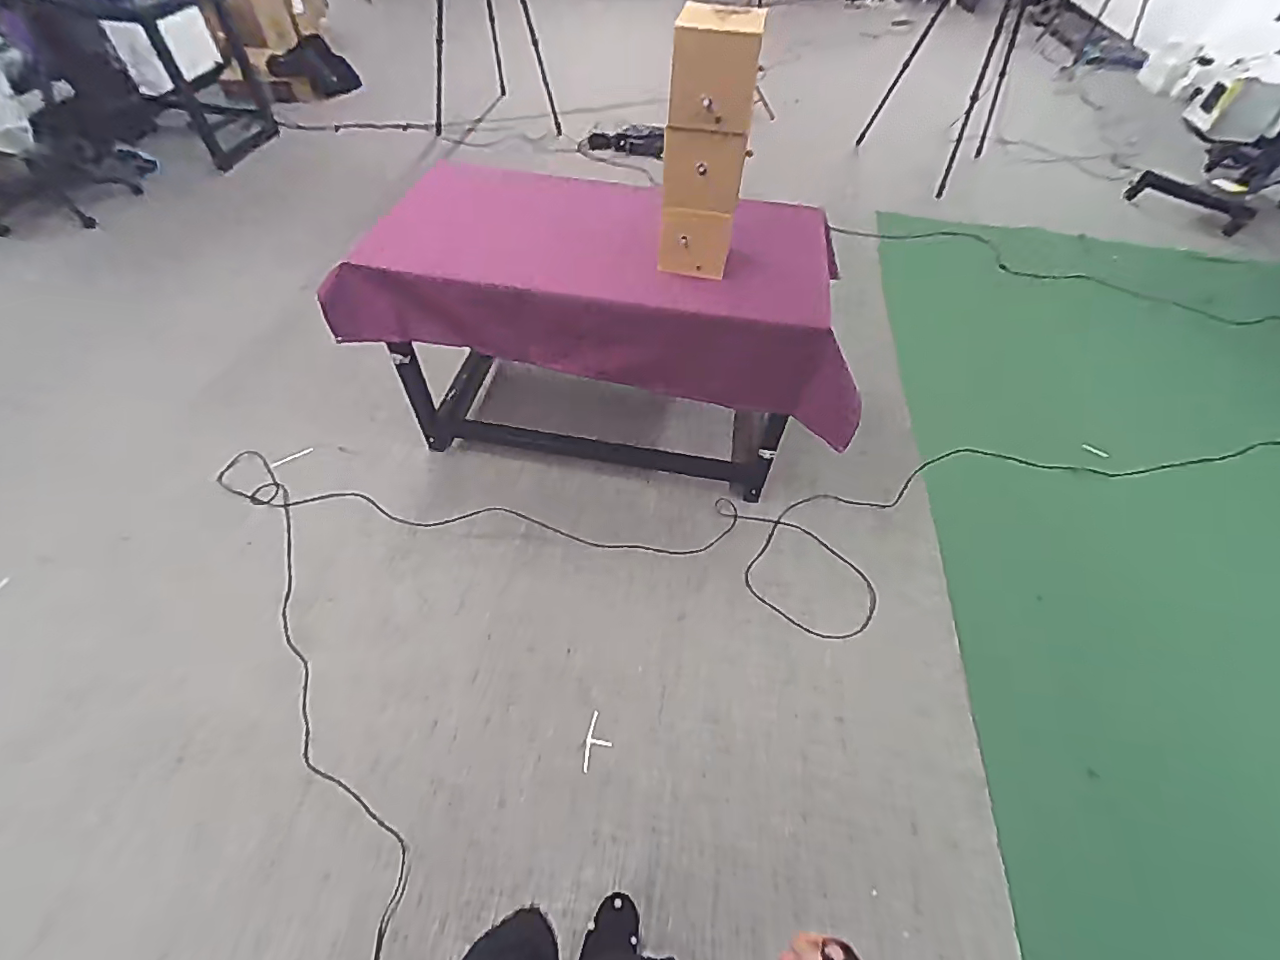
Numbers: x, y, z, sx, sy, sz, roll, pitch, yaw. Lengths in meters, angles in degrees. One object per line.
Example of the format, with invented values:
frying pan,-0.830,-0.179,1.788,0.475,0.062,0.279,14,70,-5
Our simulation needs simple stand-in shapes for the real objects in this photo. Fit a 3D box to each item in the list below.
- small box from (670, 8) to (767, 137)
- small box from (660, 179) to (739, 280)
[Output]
small box,0.157,-0.832,1.106,0.168,0.176,0.179,9,52,6
small box,0.147,-0.630,1.365,0.168,0.176,0.179,11,51,6
